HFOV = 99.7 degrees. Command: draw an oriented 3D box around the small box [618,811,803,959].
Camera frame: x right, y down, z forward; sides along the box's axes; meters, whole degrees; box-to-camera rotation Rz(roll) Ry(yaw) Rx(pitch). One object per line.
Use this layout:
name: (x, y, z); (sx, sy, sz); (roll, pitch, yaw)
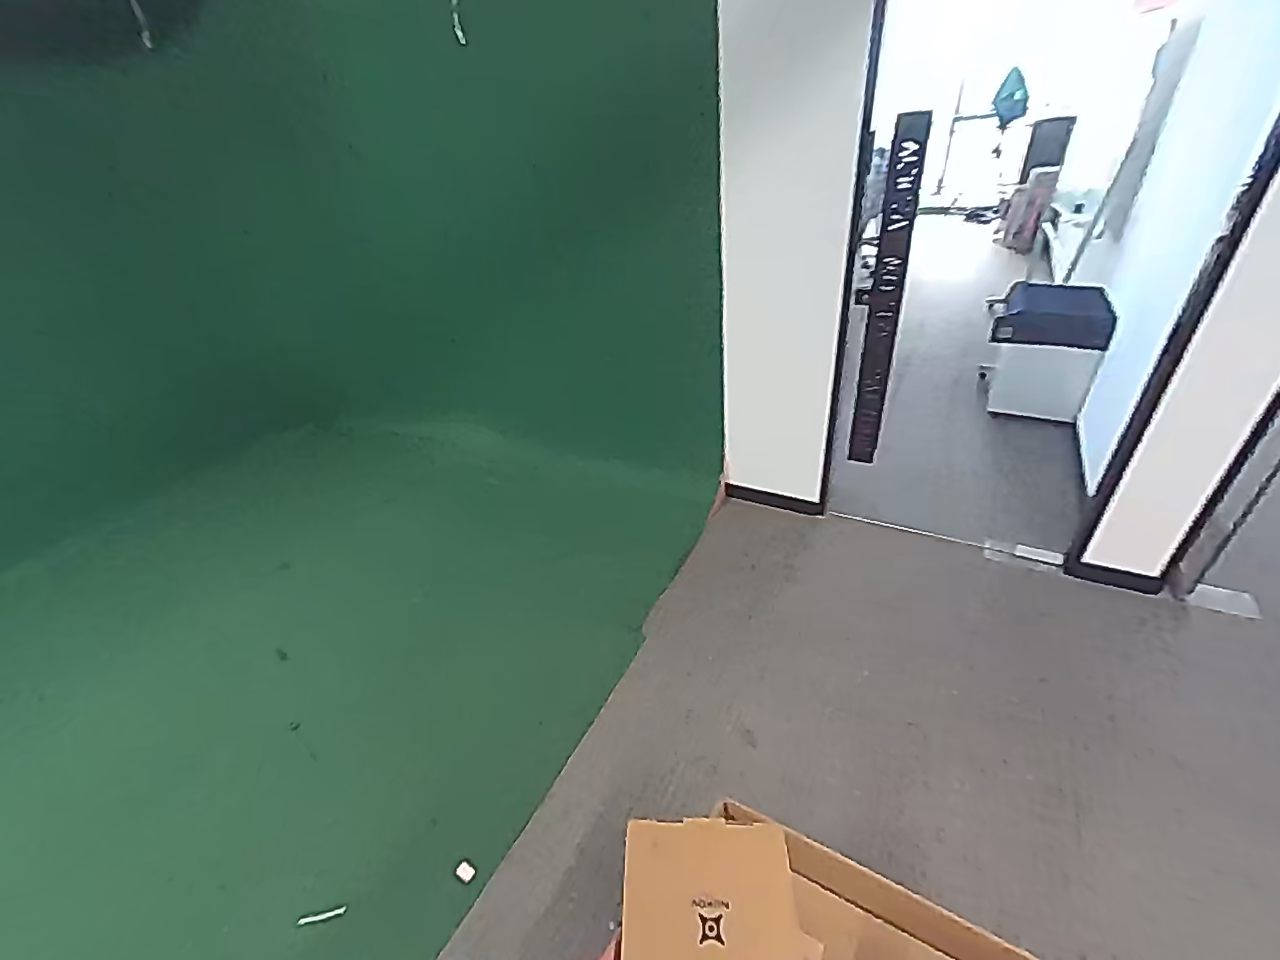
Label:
small box: (0.062, 0.469, 0.547); (0.168, 0.176, 0.179); (1, 36, 1)
